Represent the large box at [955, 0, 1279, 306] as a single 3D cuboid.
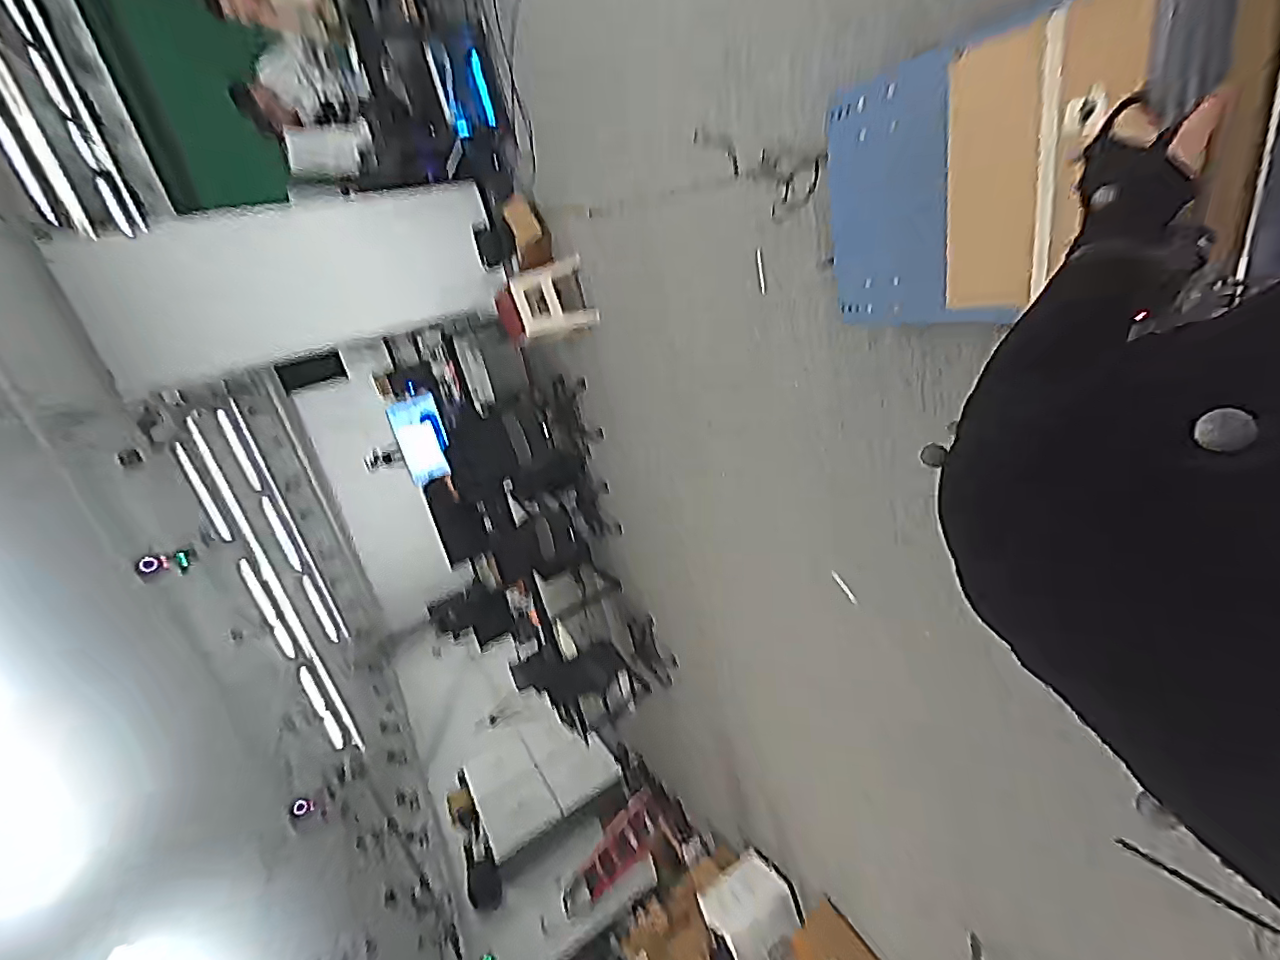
[{"bbox_3d":[0.763,-0.531,0.896,0.320,0.320,0.408,21,129,55],"label":"large box"}]
